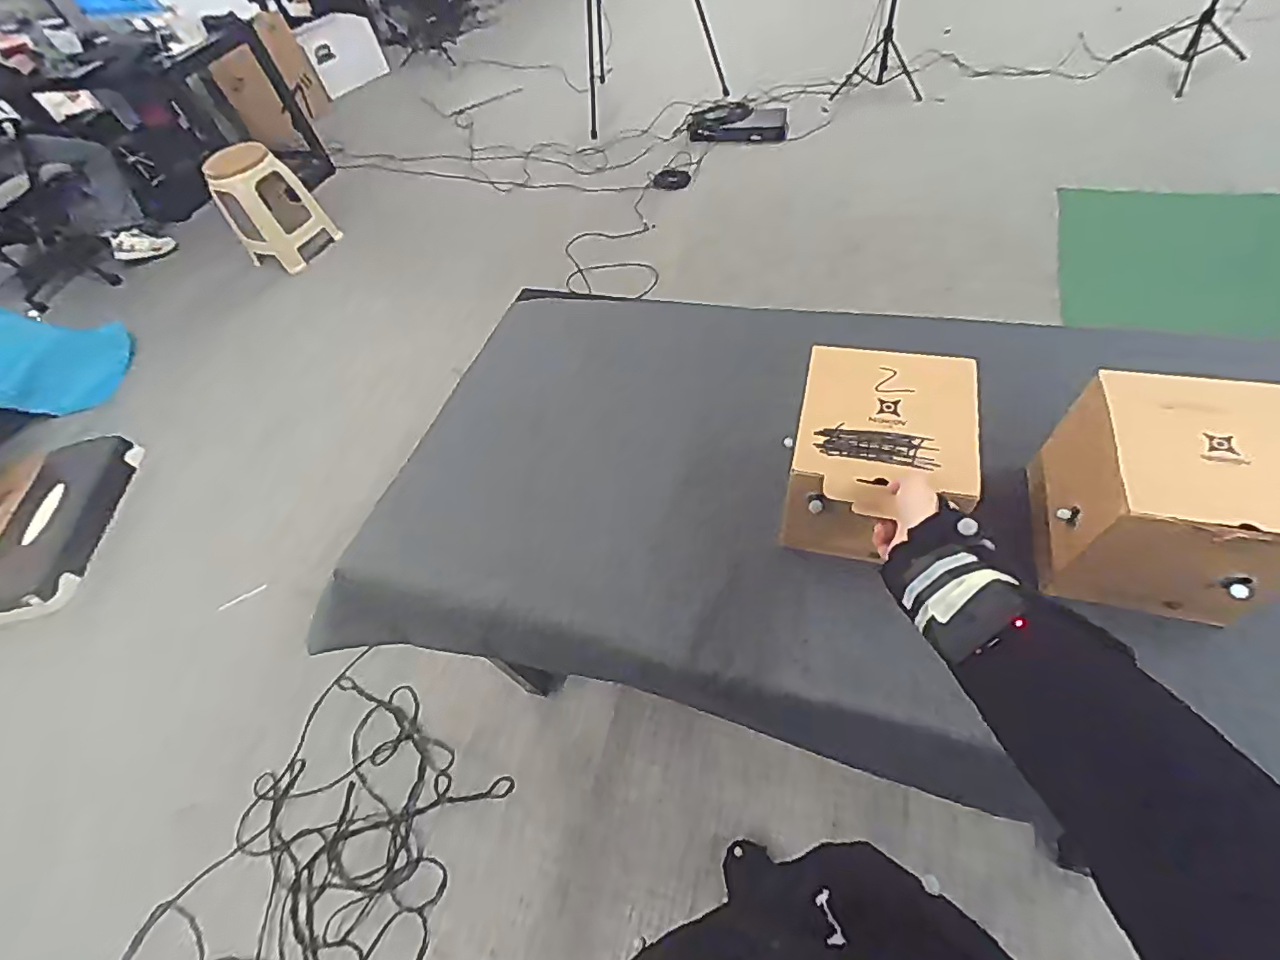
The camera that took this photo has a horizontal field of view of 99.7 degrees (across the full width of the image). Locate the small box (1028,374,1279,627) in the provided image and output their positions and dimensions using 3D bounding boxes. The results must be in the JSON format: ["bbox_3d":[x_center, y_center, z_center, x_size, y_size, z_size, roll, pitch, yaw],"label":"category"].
[{"bbox_3d":[0.516,0.023,0.532,0.168,0.176,0.179,10,56,15],"label":"small box"}]
